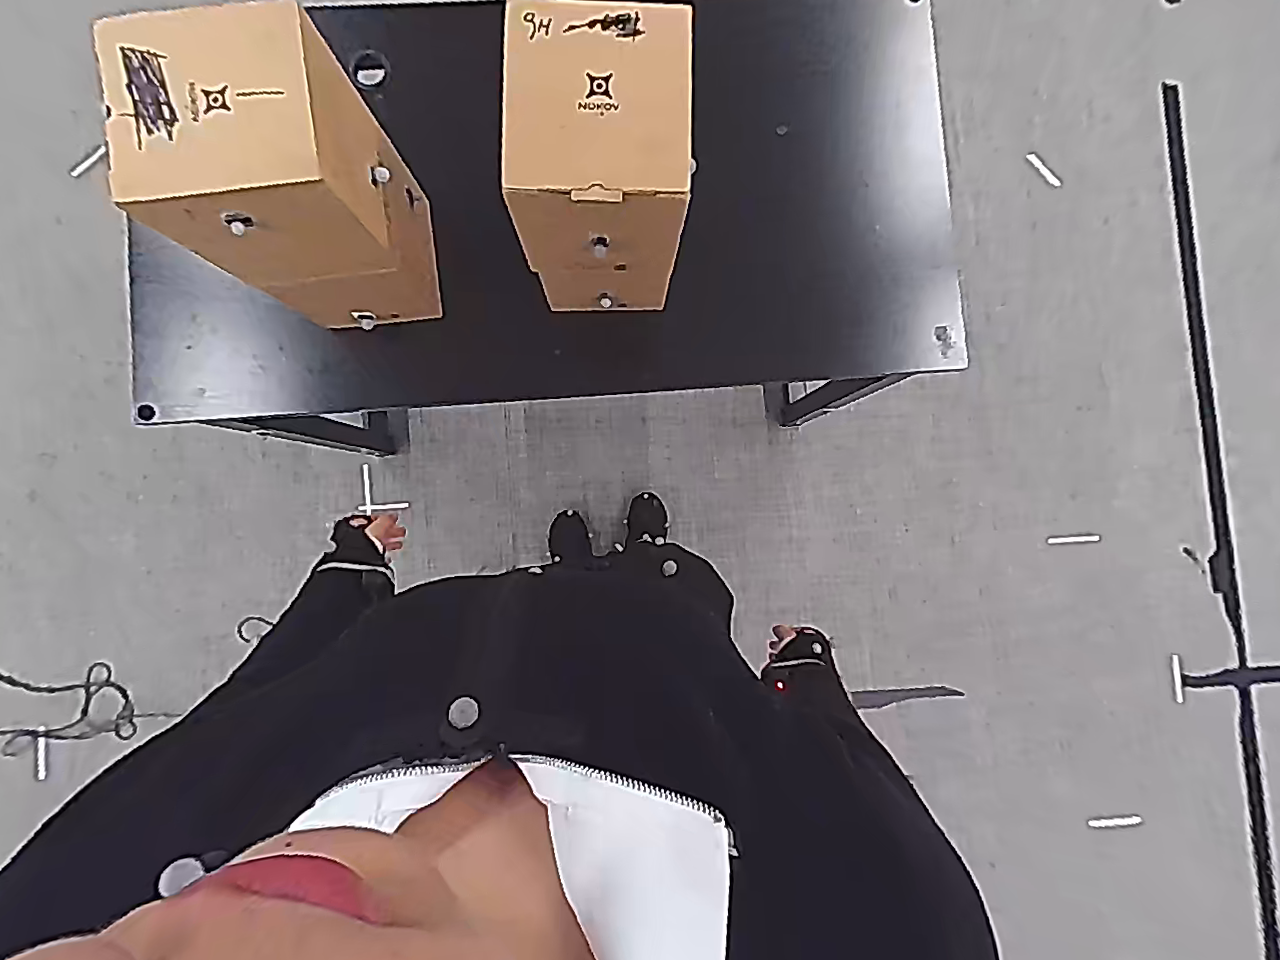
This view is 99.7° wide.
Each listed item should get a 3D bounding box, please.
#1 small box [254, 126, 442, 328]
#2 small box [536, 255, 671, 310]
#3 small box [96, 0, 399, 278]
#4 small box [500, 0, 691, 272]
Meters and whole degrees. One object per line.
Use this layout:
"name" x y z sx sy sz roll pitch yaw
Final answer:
"small box" -0.374 -0.316 0.704 0.168 0.176 0.179 -8 89 -2
"small box" -0.049 -0.342 0.716 0.168 0.176 0.179 -1 88 -2
"small box" -0.369 -0.319 0.539 0.179 0.176 0.168 -9 88 -3
"small box" -0.041 -0.330 0.552 0.168 0.176 0.179 1 88 -2
